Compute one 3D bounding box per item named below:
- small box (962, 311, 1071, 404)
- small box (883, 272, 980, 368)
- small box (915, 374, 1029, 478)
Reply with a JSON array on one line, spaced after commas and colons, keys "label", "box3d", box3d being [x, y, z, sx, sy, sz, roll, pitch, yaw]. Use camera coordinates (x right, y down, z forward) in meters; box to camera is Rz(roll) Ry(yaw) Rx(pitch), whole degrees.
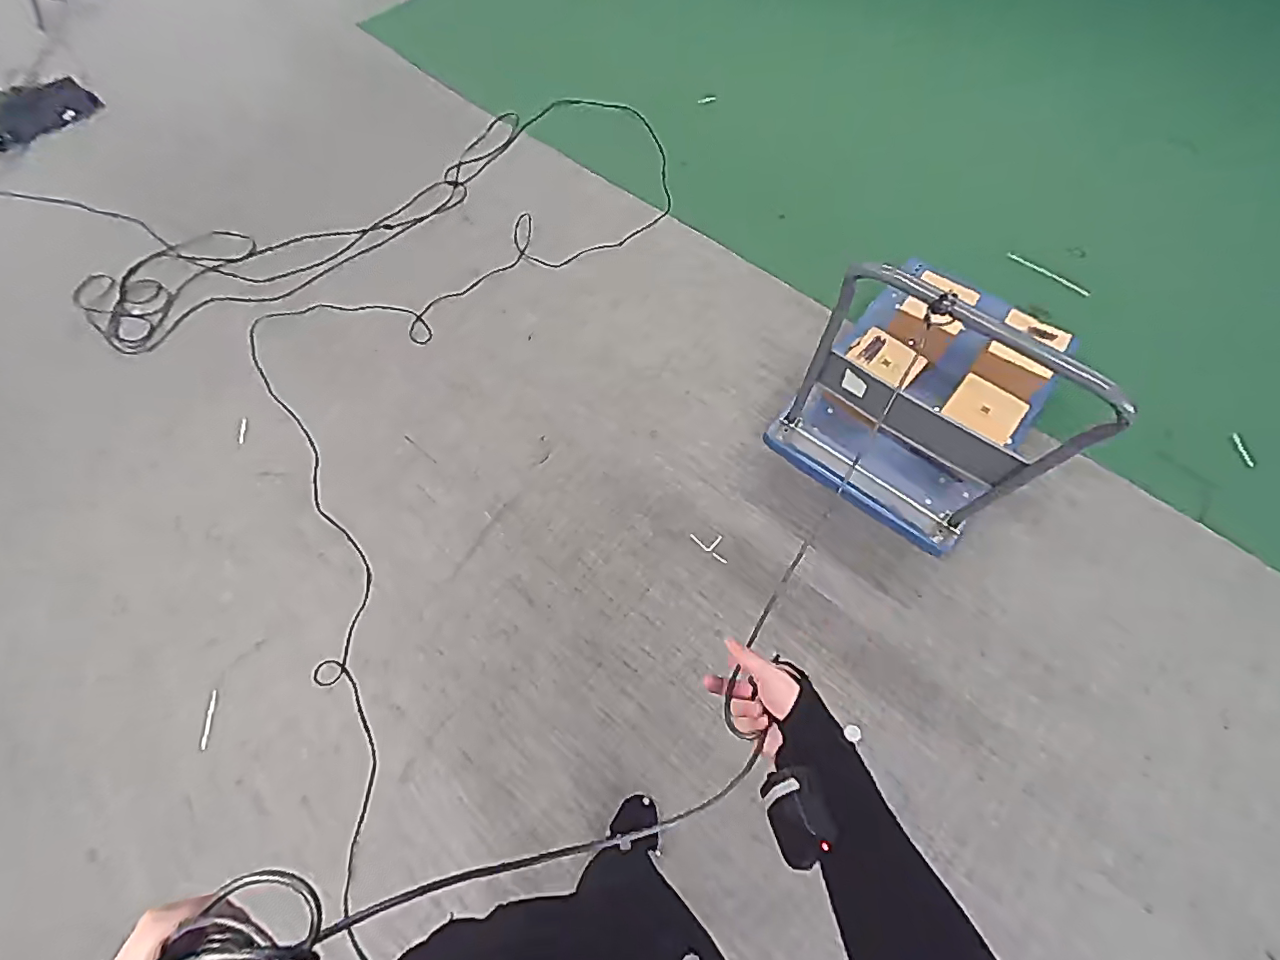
[{"label": "small box", "box3d": [1.046, -0.328, 1.517, 0.168, 0.176, 0.179, 34, 72, 16]}, {"label": "small box", "box3d": [0.843, -0.461, 1.583, 0.168, 0.176, 0.179, 34, 71, 15]}, {"label": "small box", "box3d": [0.871, -0.138, 1.437, 0.168, 0.176, 0.179, 38, 73, 17]}]
